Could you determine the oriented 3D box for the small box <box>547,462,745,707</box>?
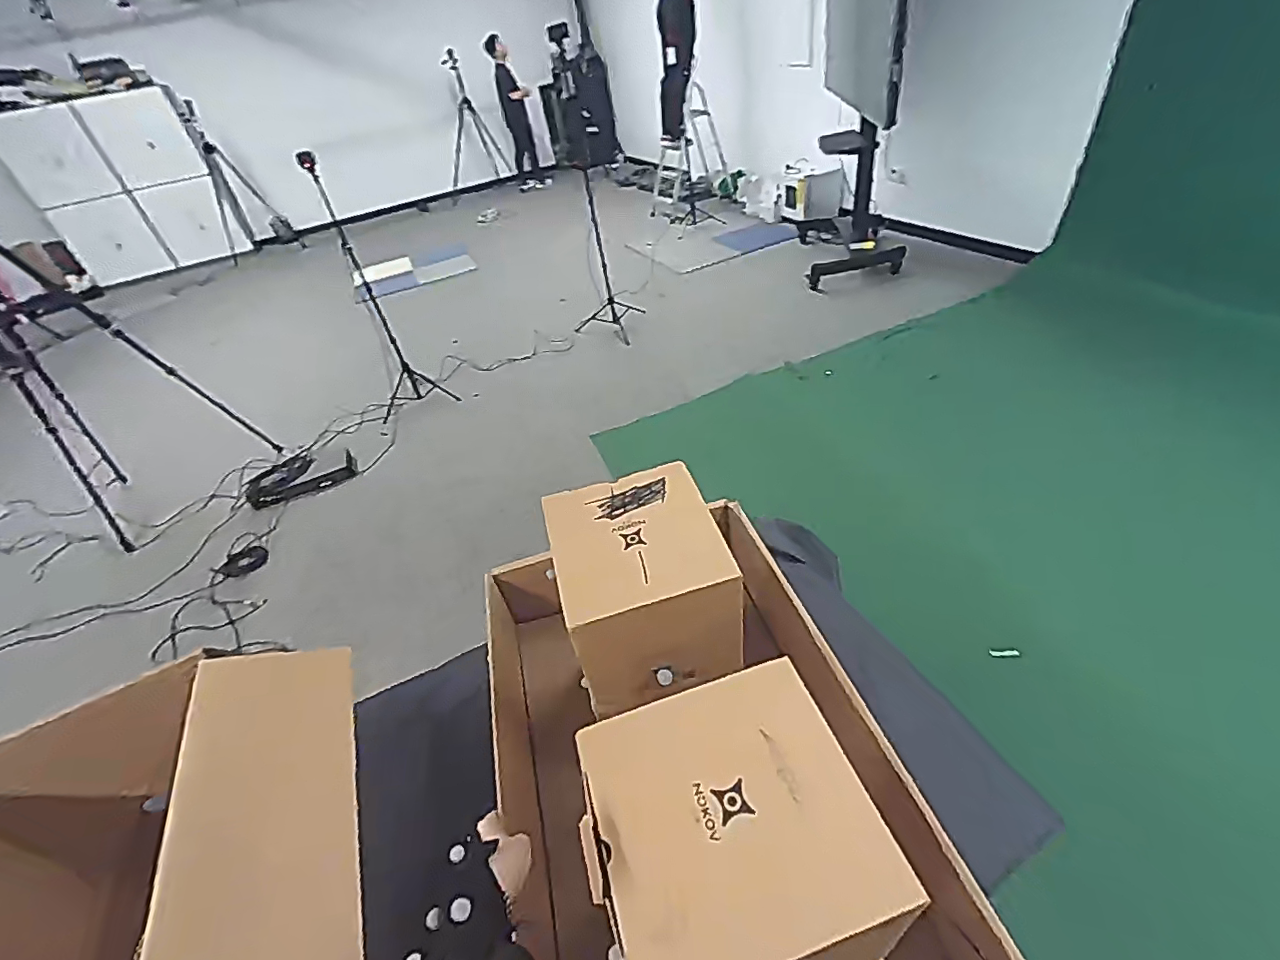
[{"bbox_3d":[0.005,0.112,0.592,0.168,0.176,0.179,-15,43,-6],"label":"small box"}]

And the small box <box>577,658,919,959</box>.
[{"bbox_3d":[0.067,0.271,0.404,0.179,0.176,0.168,-16,41,-8],"label":"small box"}]
